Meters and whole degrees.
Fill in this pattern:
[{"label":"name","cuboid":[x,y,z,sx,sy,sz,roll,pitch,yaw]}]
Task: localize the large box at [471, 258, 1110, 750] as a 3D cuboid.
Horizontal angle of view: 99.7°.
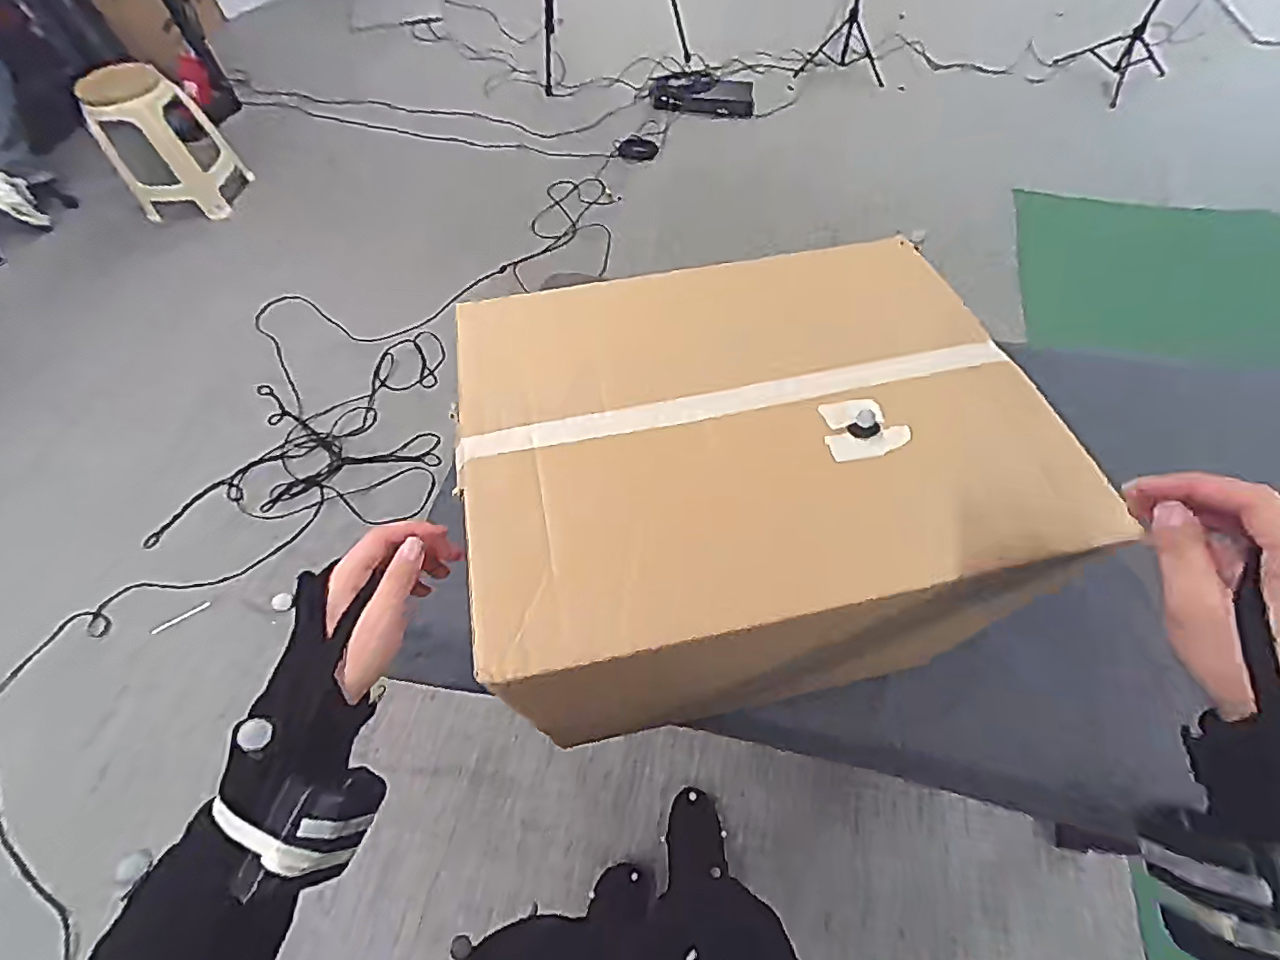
[{"label":"large box","cuboid":[0.081,0.033,0.529,0.408,0.320,0.320,-11,58,-7]}]
